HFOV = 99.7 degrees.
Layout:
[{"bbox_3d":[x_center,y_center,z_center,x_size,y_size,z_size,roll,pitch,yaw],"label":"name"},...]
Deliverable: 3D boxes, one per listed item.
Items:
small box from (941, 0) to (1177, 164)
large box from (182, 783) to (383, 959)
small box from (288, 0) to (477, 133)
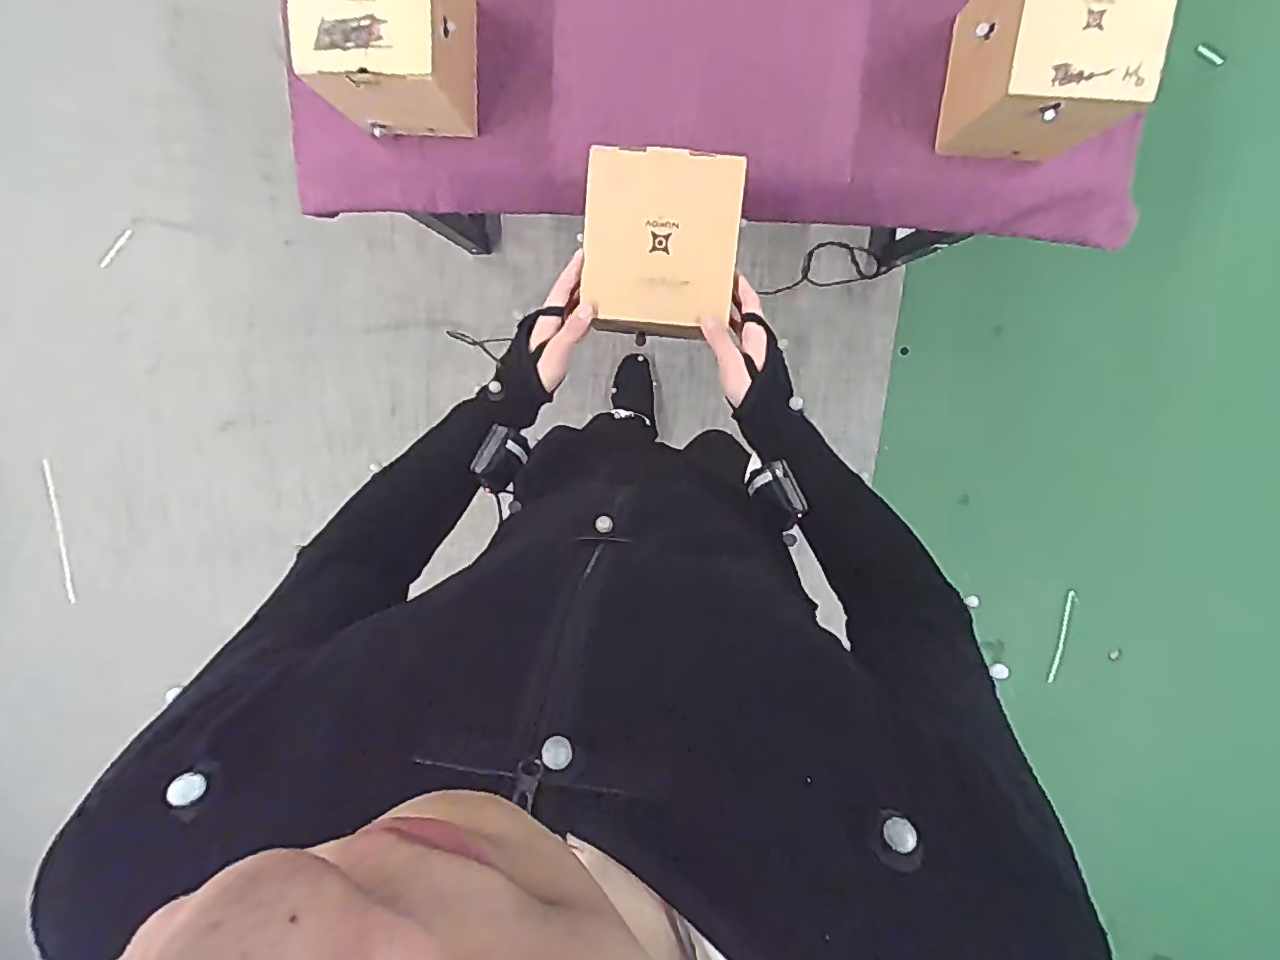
[{"bbox_3d":[0.505,-0.528,0.673,0.168,0.176,0.179,5,99,1],"label":"small box"},{"bbox_3d":[-1.139,1.280,1.761,0.408,0.320,0.320,26,102,-5],"label":"large box"},{"bbox_3d":[-0.310,-0.565,0.680,0.168,0.176,0.179,3,101,0],"label":"small box"}]
